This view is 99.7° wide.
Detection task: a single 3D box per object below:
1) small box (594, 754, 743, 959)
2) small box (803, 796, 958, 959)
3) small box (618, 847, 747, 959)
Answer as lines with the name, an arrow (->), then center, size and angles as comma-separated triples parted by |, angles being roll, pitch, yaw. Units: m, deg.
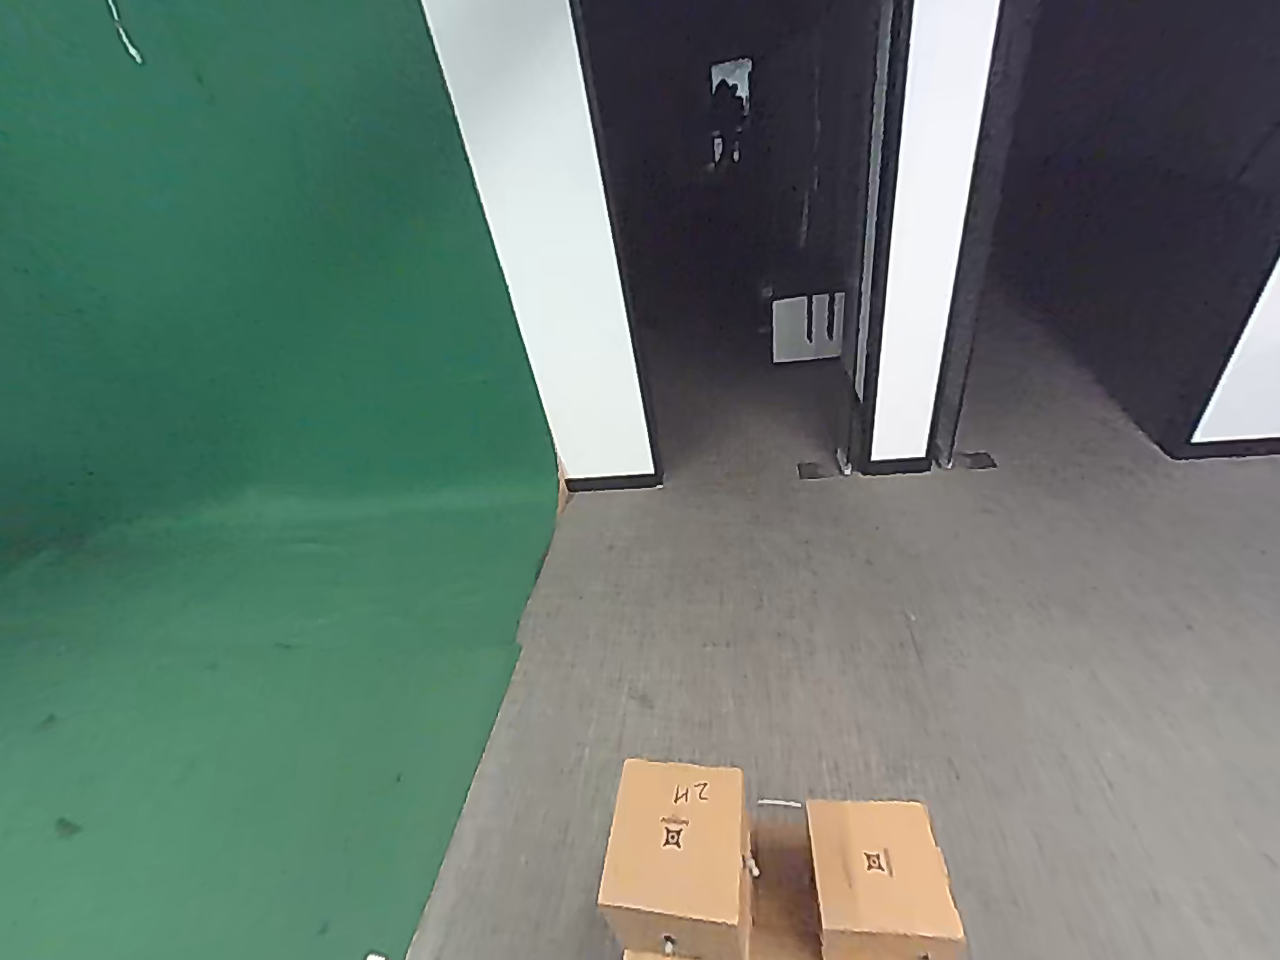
small box -> 0.051, 0.506, 0.730 | 0.168, 0.176, 0.179 | 0, 36, 13
small box -> 0.341, 0.601, 0.805 | 0.179, 0.176, 0.168 | -5, 34, 12
small box -> 0.074, 0.646, 0.814 | 0.168, 0.176, 0.179 | -1, 36, 12
